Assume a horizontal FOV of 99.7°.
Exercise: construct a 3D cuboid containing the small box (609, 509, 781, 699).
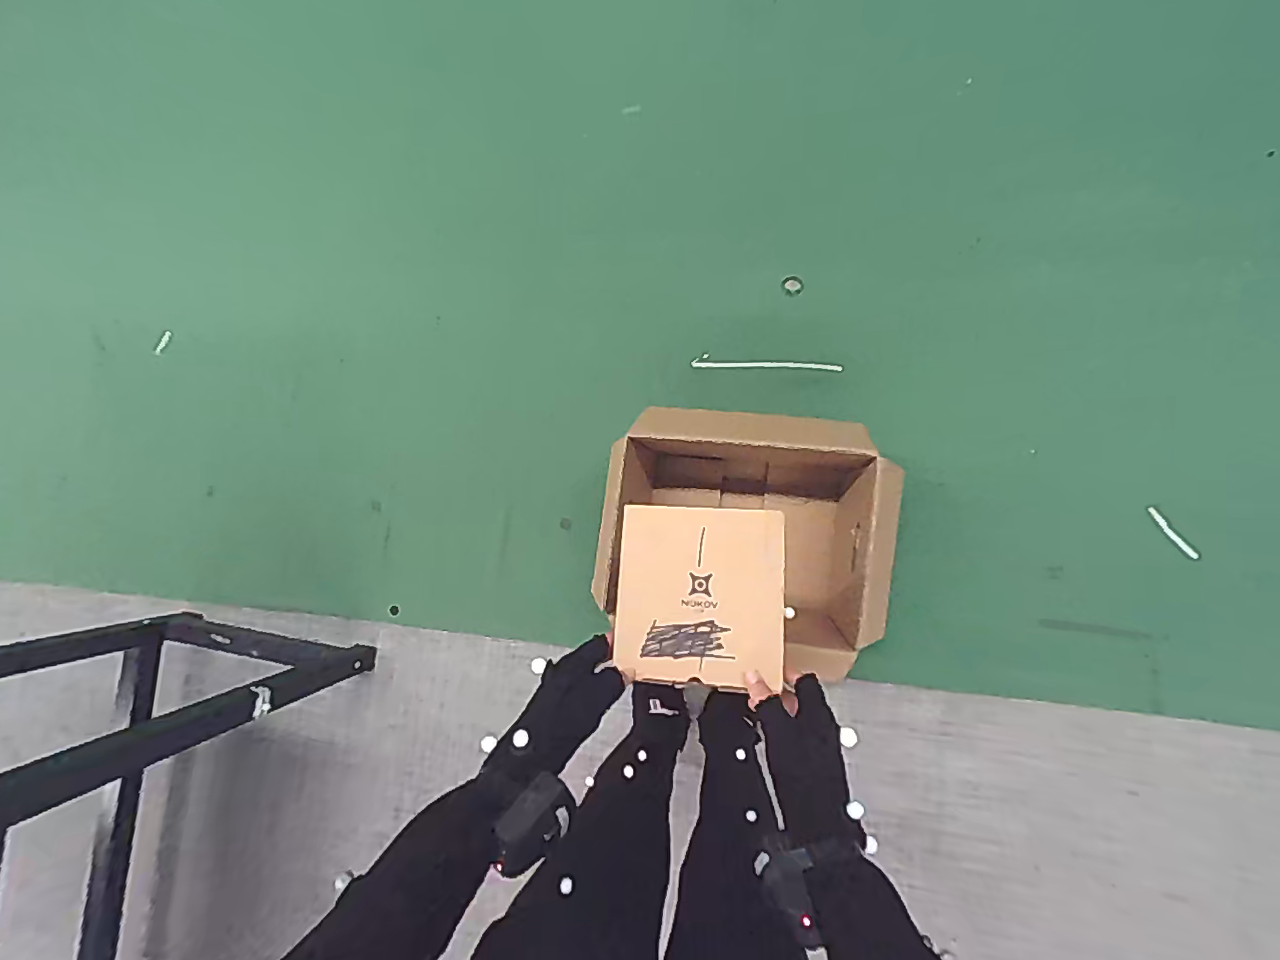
[{"bbox_3d":[0.069,0.137,0.613,0.168,0.176,0.179,2,76,10],"label":"small box"}]
